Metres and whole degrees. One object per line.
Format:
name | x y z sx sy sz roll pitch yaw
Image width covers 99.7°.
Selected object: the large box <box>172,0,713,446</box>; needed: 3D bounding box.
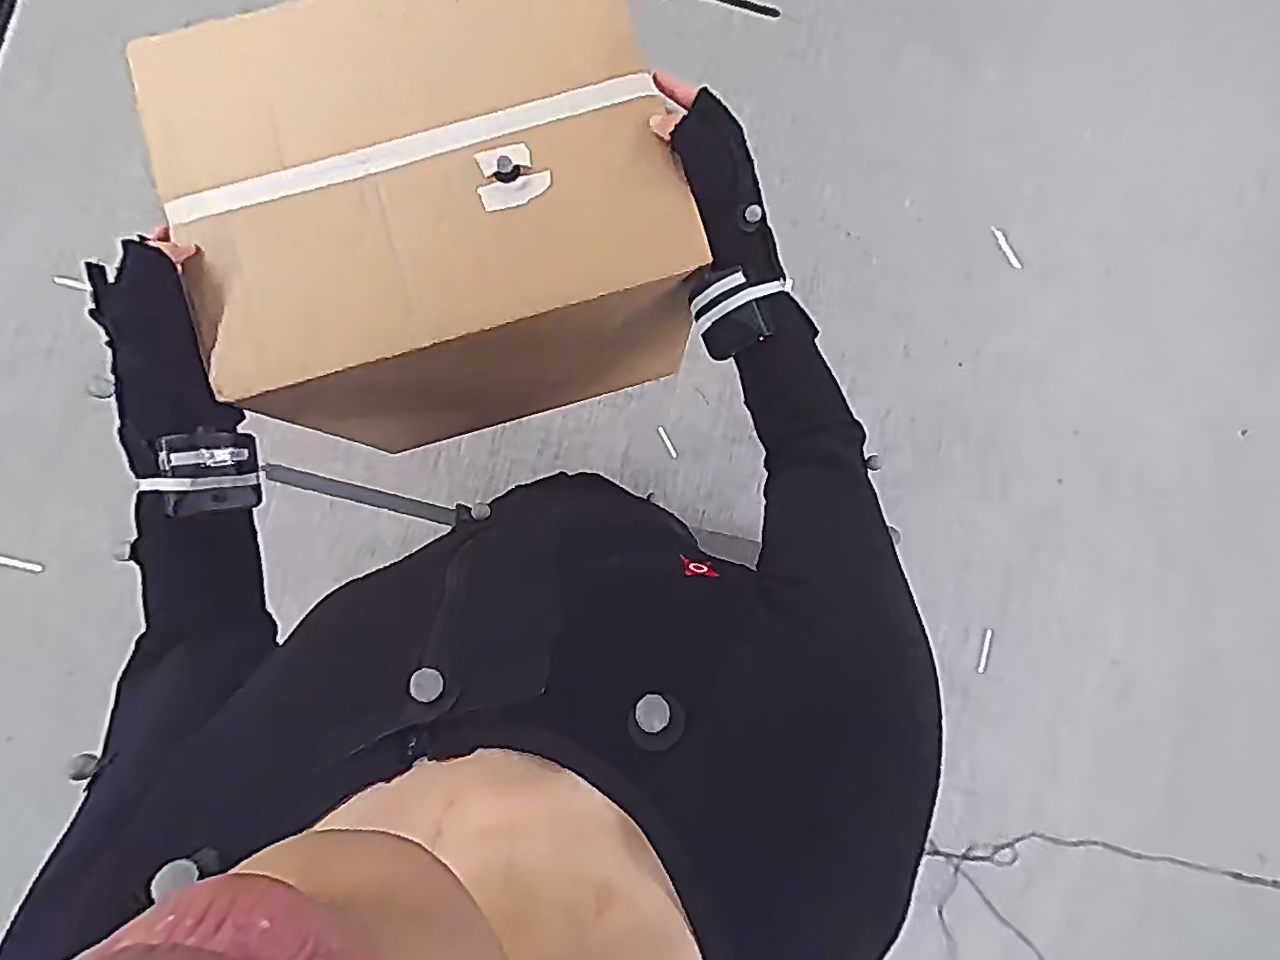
large box | -0.174 -0.259 0.604 0.408 0.320 0.320 -16 86 -3
